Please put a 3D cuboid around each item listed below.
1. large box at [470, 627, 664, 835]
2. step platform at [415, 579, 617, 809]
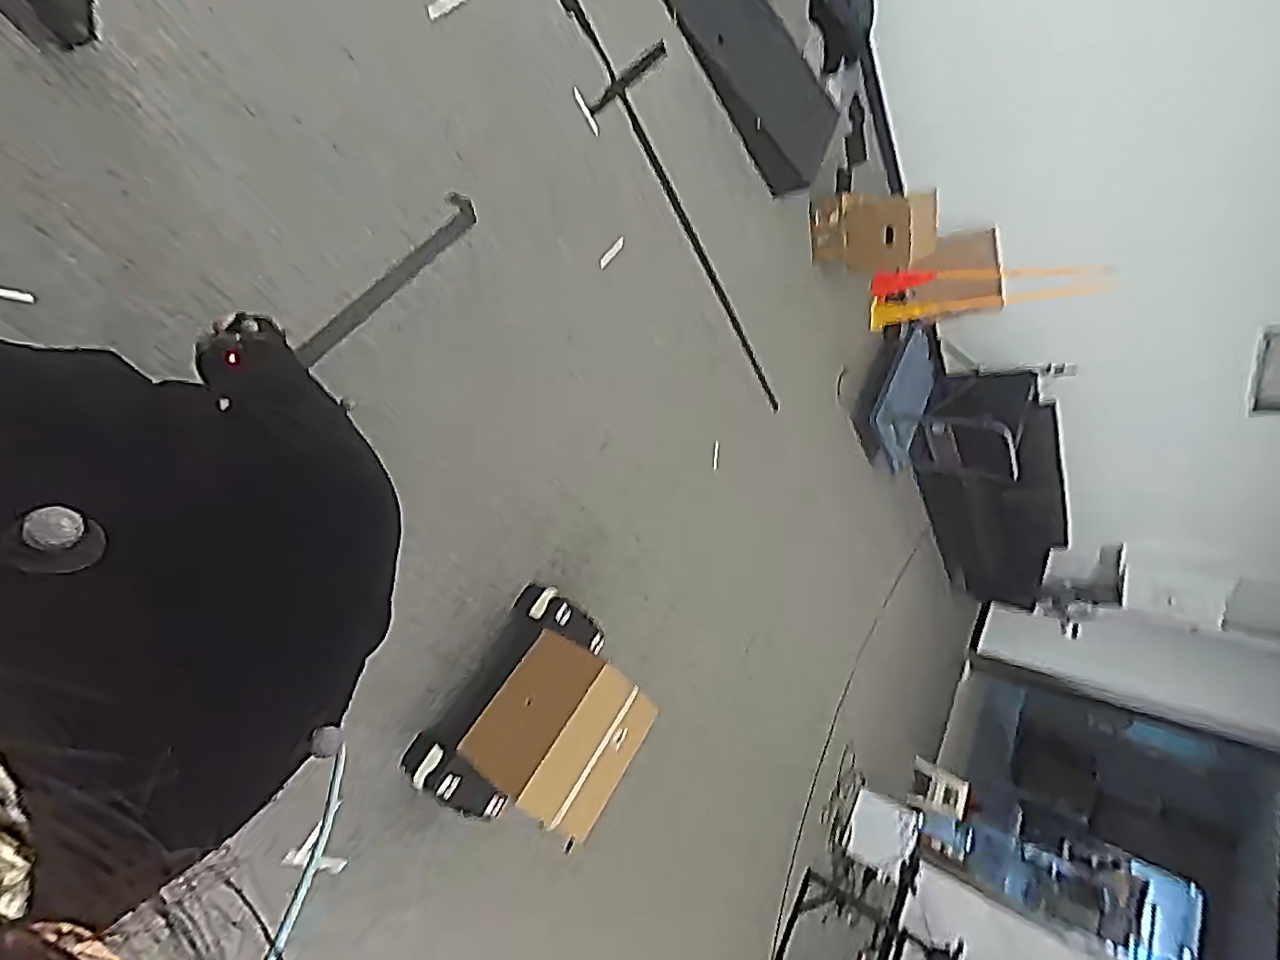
[{"bbox_3d":[-0.205,0.708,1.569,0.408,0.320,0.320,-55,129,-26],"label":"large box"},{"bbox_3d":[-0.366,0.664,1.740,0.684,0.204,0.286,-52,127,-28],"label":"step platform"}]
